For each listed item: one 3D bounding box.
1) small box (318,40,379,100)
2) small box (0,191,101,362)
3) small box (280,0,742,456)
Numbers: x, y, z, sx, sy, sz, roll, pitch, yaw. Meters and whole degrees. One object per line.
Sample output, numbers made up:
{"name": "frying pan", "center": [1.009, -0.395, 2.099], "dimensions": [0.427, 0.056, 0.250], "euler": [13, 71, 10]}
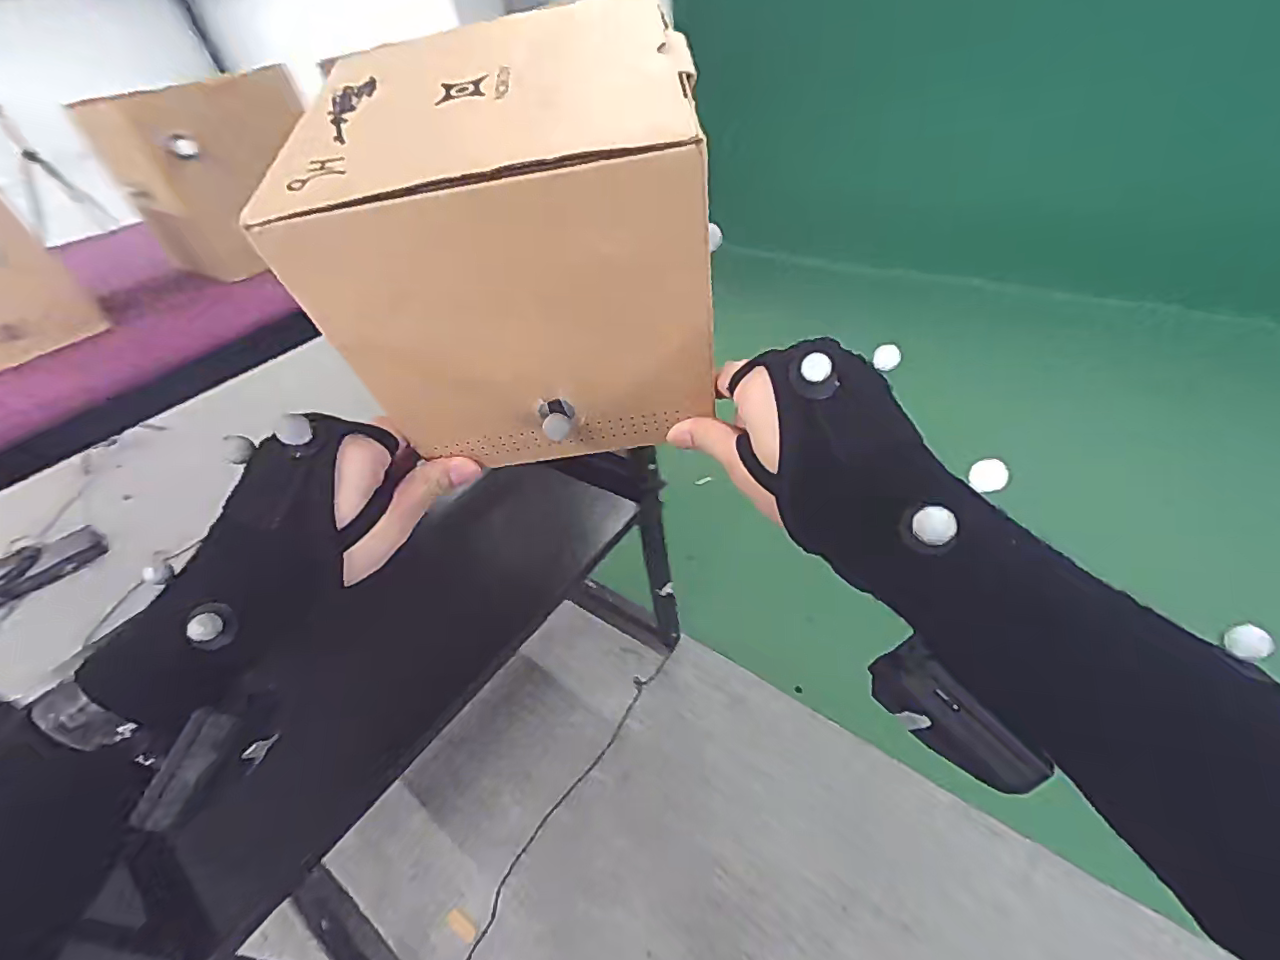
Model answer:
{"name": "small box", "center": [-0.297, -0.517, 0.762], "dimensions": [0.168, 0.176, 0.179], "euler": [22, 50, 32]}
{"name": "small box", "center": [-0.624, -0.190, 0.460], "dimensions": [0.179, 0.176, 0.168], "euler": [23, 50, 33]}
{"name": "small box", "center": [-0.044, -0.132, 0.306], "dimensions": [0.179, 0.176, 0.168], "euler": [-7, 55, 4]}
